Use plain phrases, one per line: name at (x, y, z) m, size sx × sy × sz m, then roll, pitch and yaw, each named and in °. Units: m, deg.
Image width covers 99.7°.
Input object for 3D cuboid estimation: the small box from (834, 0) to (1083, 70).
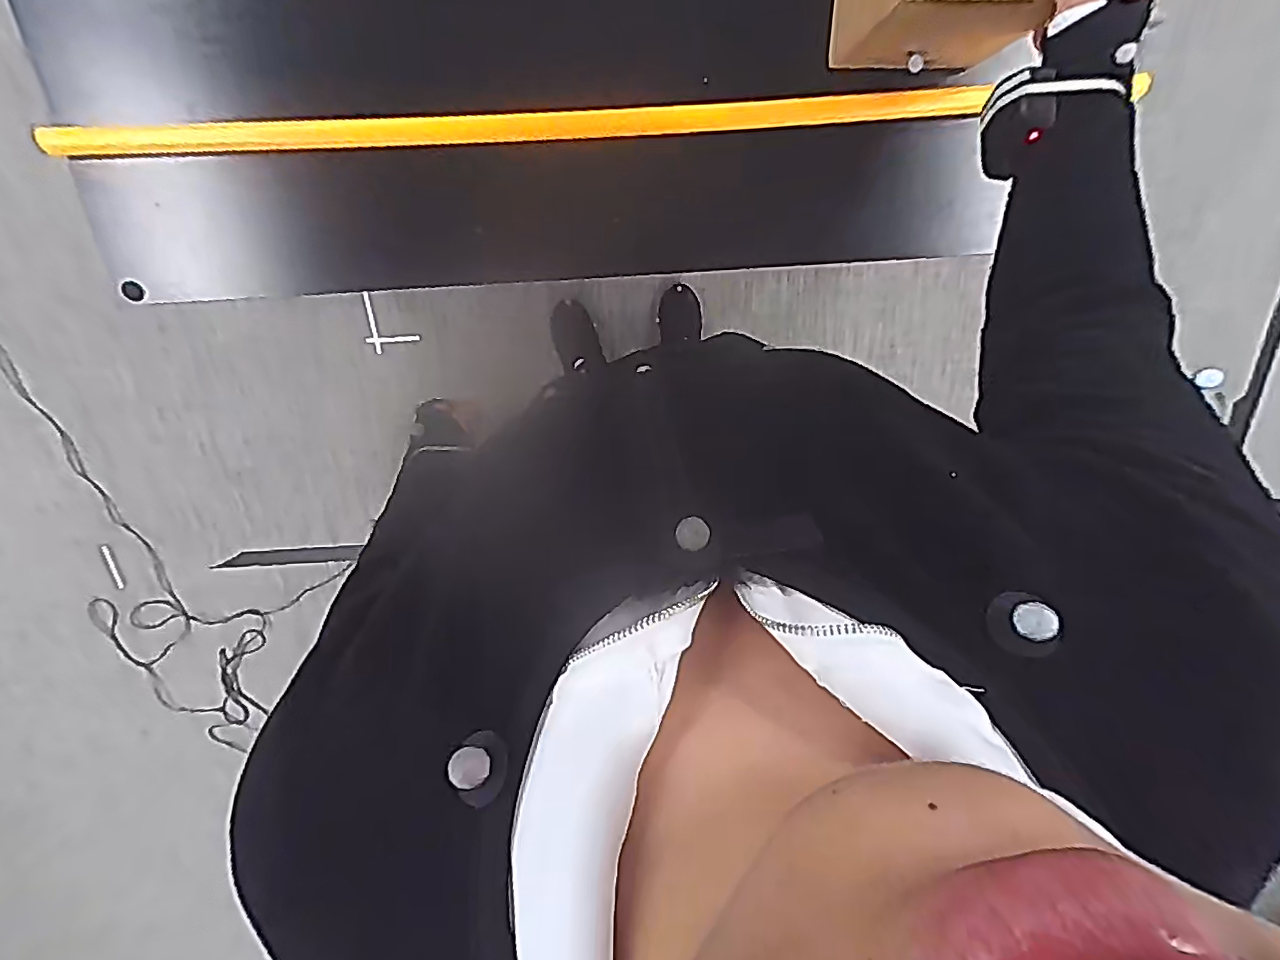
small box at (0.296, -0.517, 0.502) m, size 0.168 × 0.176 × 0.179 m, roll -1°, pitch 112°, yaw -2°
